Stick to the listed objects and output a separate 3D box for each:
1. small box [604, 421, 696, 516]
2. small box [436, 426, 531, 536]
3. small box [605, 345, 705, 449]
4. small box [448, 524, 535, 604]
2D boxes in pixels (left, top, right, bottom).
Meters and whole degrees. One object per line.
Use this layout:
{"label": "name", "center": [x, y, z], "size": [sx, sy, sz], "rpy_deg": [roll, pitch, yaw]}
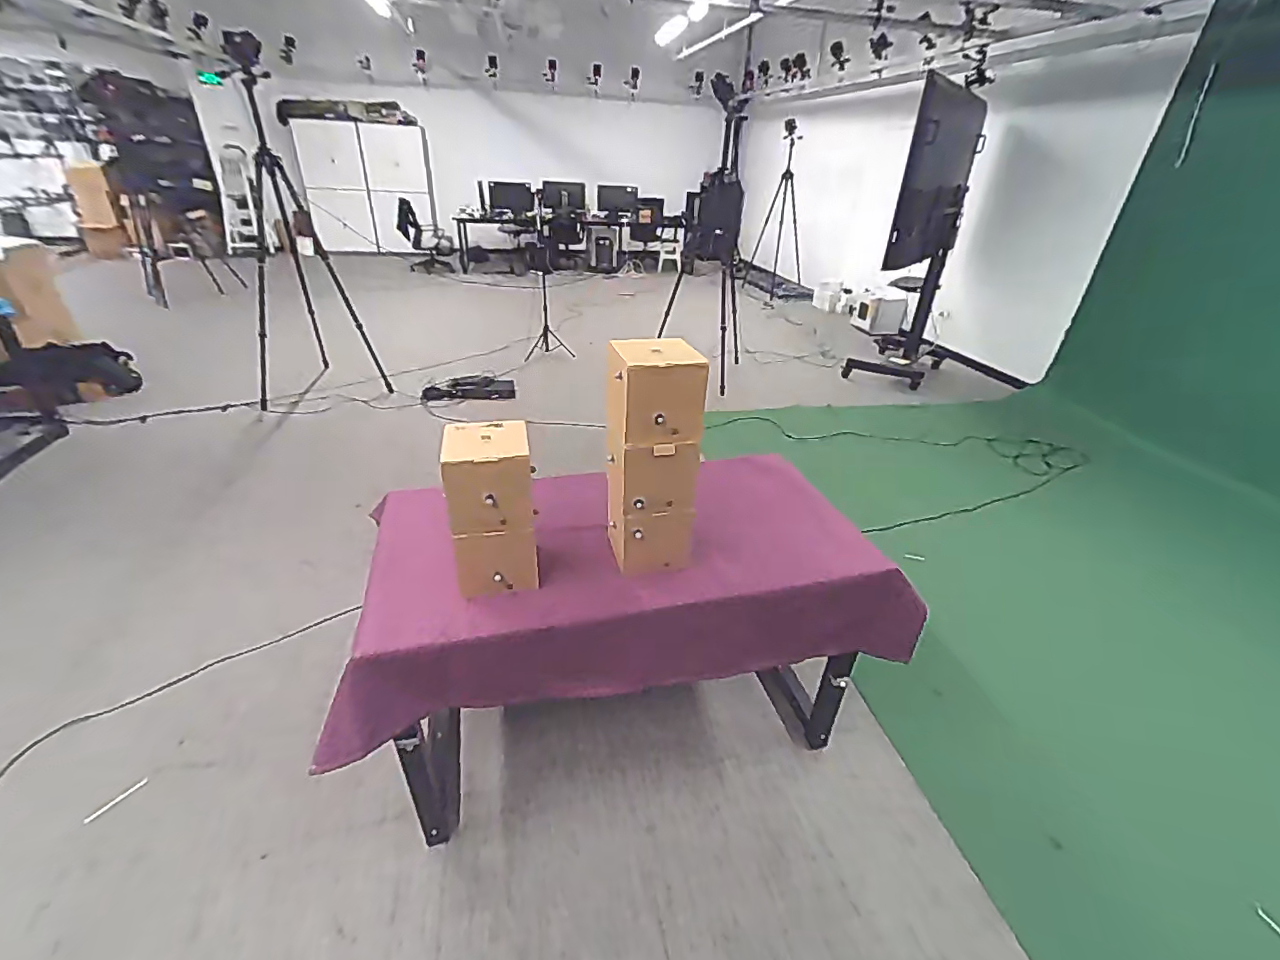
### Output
{"label": "small box", "center": [0.016, -0.030, 1.205], "size": [0.168, 0.176, 0.179], "rpy_deg": [-6, 29, -14]}
{"label": "small box", "center": [-0.318, 0.004, 1.118], "size": [0.168, 0.176, 0.179], "rpy_deg": [-5, 31, -14]}
{"label": "small box", "center": [0.022, -0.177, 1.134], "size": [0.168, 0.176, 0.179], "rpy_deg": [-6, 31, -15]}
{"label": "small box", "center": [-0.323, 0.149, 1.196], "size": [0.168, 0.176, 0.179], "rpy_deg": [-5, 31, -13]}
